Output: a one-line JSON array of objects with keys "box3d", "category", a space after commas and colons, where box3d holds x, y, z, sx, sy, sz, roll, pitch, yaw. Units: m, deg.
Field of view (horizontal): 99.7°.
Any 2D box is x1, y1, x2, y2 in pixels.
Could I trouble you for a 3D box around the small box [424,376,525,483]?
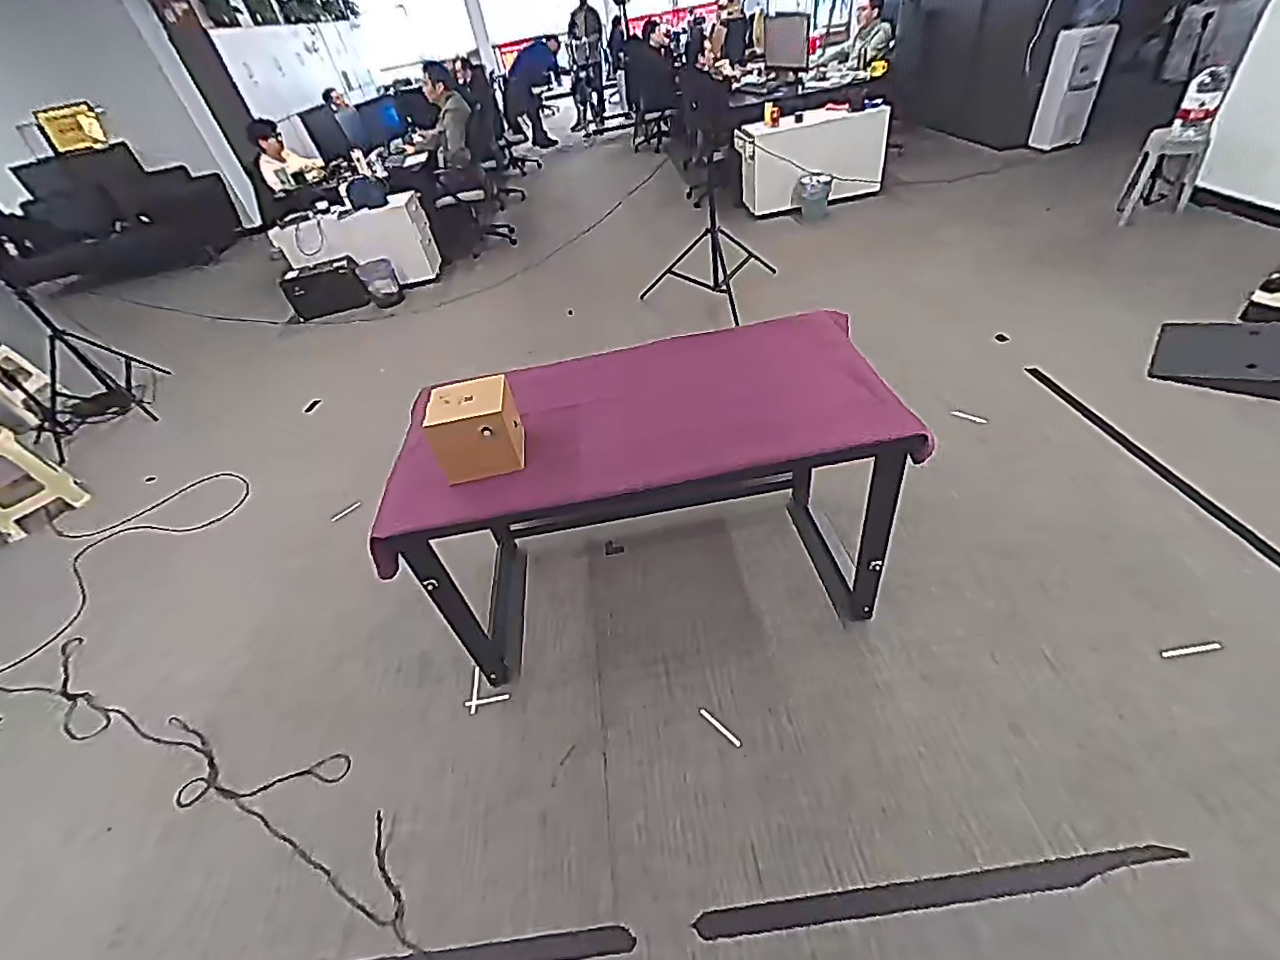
[{"box3d": [-0.374, -0.116, 1.259, 0.179, 0.176, 0.168, -12, 40, -1], "category": "small box"}]
